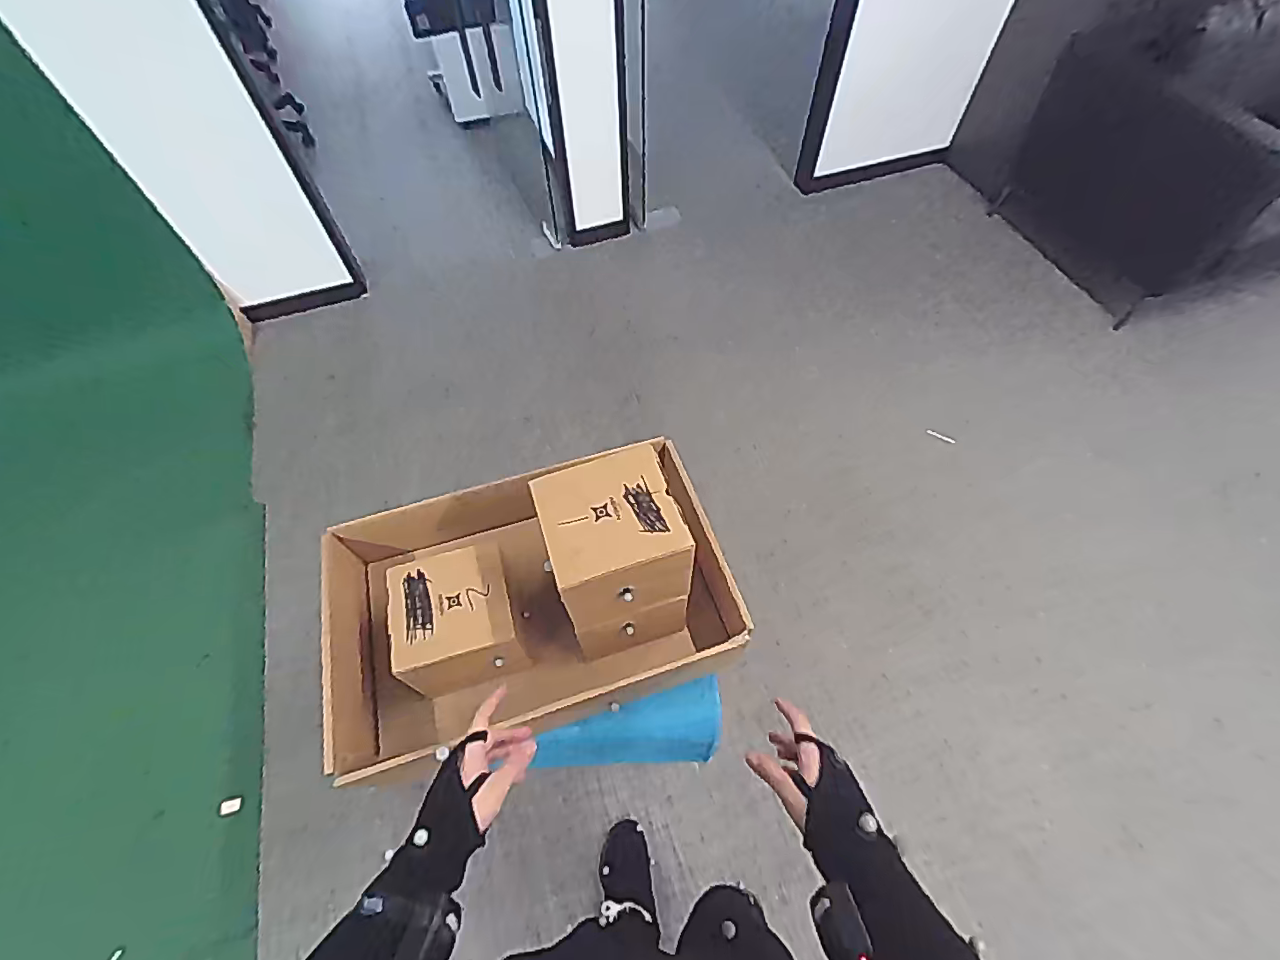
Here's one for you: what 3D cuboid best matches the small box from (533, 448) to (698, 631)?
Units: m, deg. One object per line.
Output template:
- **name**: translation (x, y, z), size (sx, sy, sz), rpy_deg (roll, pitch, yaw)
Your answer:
- **small box**: translation (-0.033, 0.087, 0.749), size (0.179, 0.176, 0.168), rpy_deg (-17, 57, -7)
